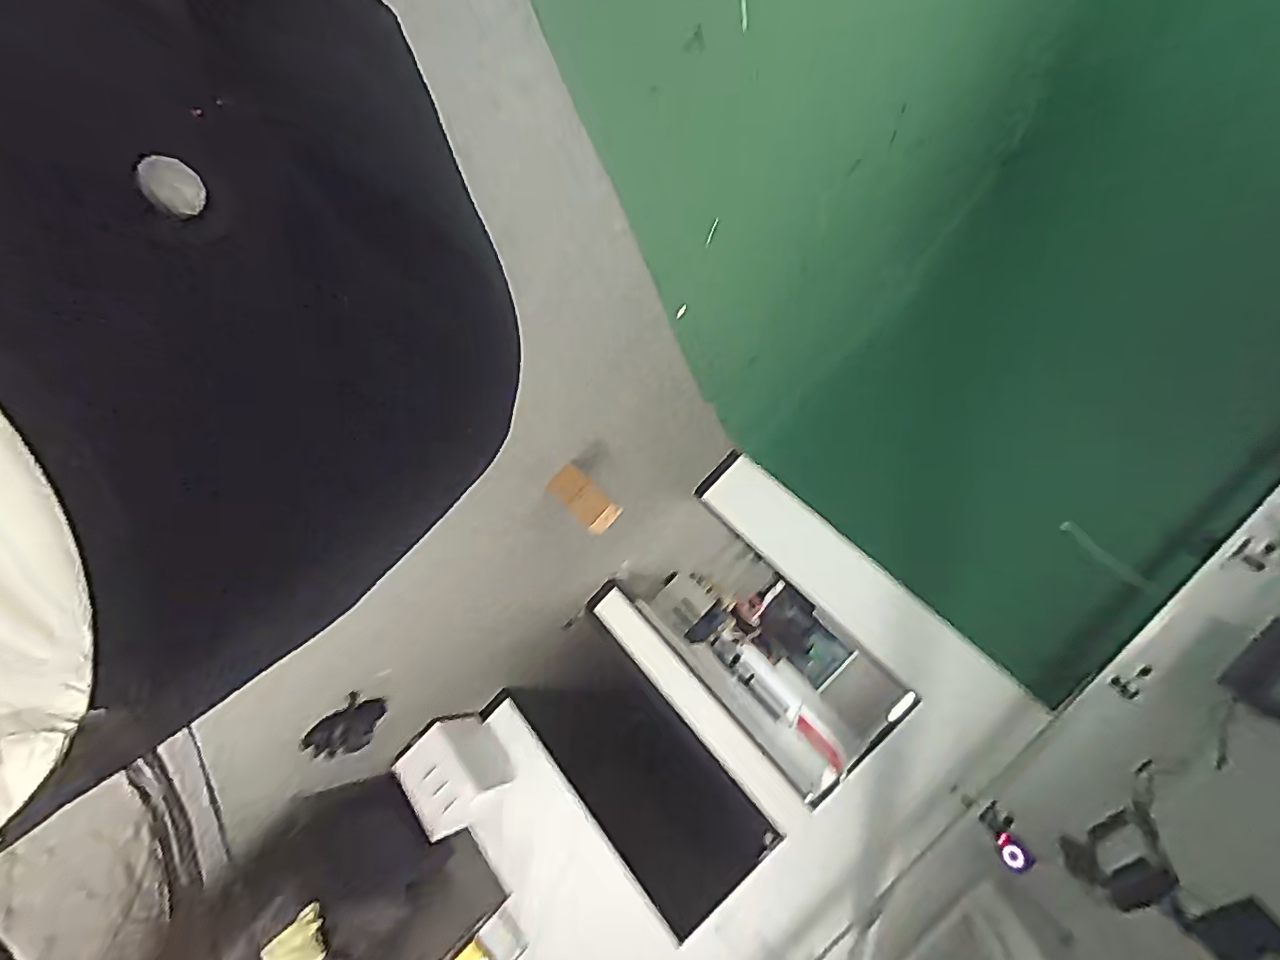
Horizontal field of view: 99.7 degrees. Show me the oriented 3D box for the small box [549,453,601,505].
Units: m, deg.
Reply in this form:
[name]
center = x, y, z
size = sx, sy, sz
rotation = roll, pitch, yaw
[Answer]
[small box]
center = -0.340, -0.004, 2.763
size = 0.179, 0.176, 0.168
rotation = -47, 157, 1
